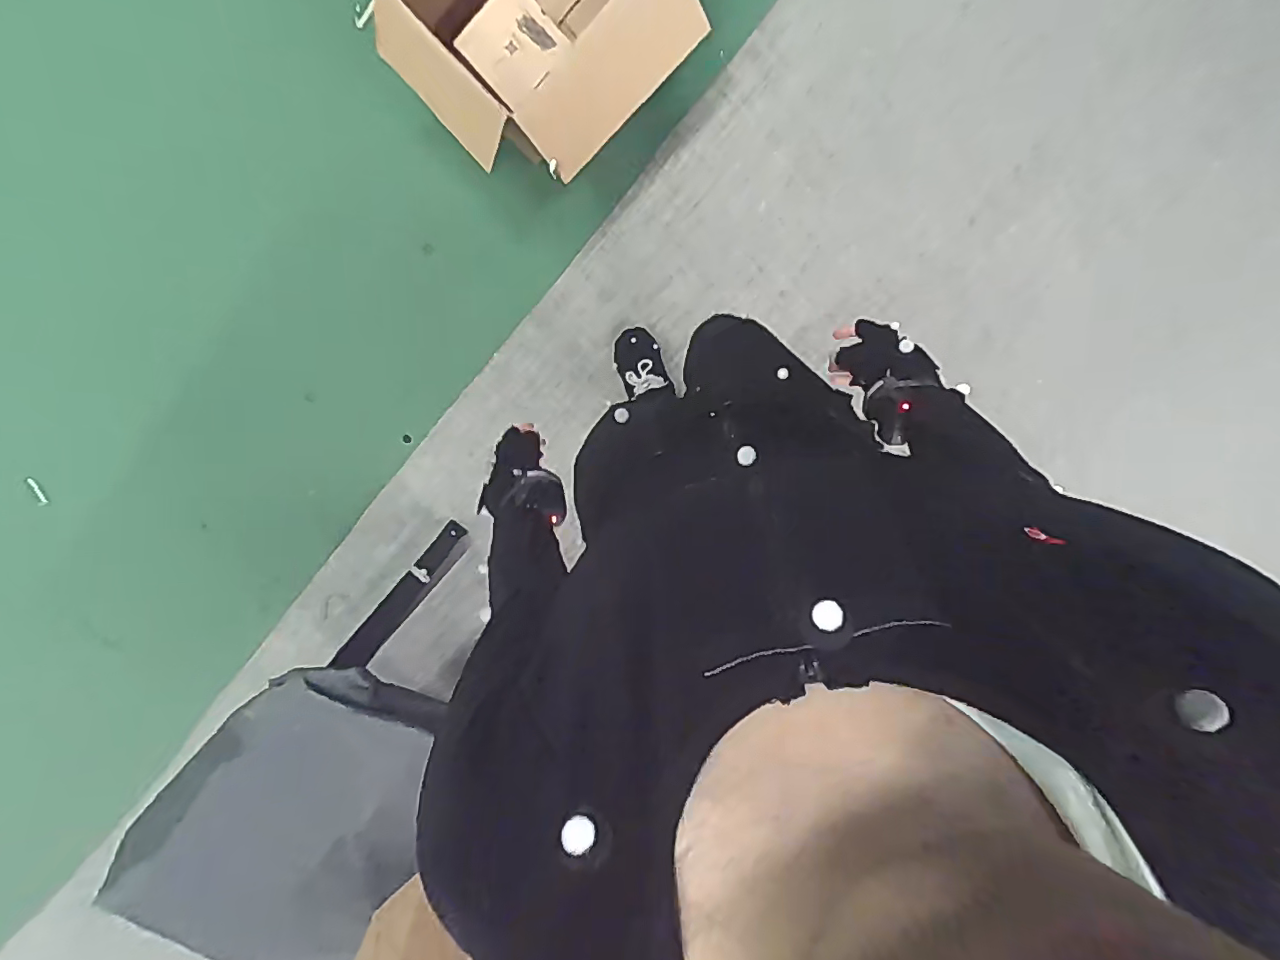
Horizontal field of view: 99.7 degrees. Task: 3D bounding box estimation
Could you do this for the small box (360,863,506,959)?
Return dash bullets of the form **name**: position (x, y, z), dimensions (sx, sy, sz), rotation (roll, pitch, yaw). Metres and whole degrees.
- **small box**: position (-0.336, 0.769, 0.859), dimensions (0.168, 0.176, 0.179), rotation (42, 100, -13)
